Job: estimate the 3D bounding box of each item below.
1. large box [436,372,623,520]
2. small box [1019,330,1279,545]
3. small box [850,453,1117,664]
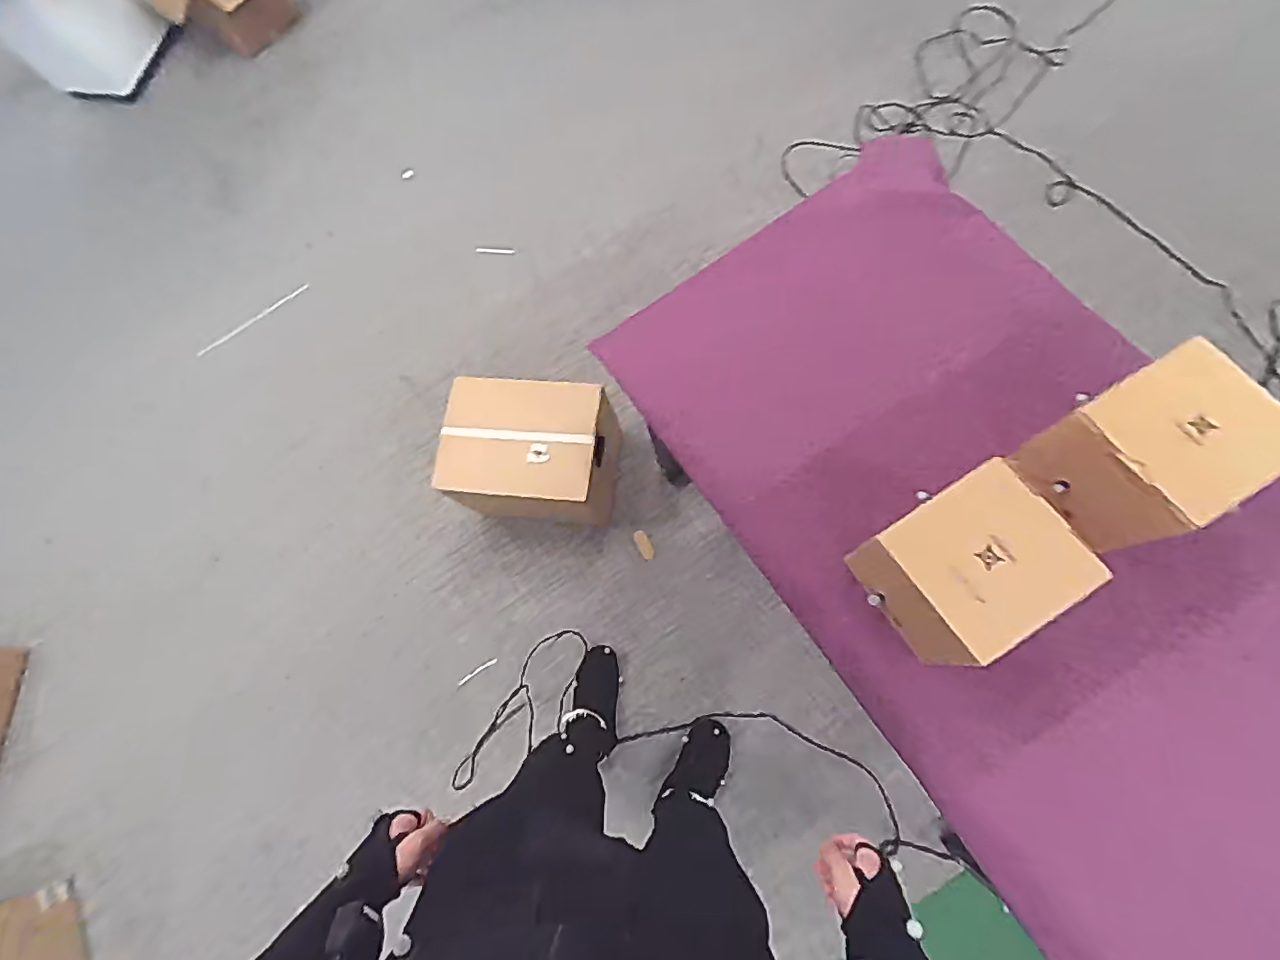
[{"bbox_3d":[-0.281,-0.082,1.491,0.408,0.320,0.320,5,75,8],"label":"large box"},{"bbox_3d":[0.623,-0.040,0.659,0.179,0.176,0.168,-32,72,-1],"label":"small box"},{"bbox_3d":[0.386,0.099,0.648,0.179,0.176,0.168,-32,71,-3],"label":"small box"}]
